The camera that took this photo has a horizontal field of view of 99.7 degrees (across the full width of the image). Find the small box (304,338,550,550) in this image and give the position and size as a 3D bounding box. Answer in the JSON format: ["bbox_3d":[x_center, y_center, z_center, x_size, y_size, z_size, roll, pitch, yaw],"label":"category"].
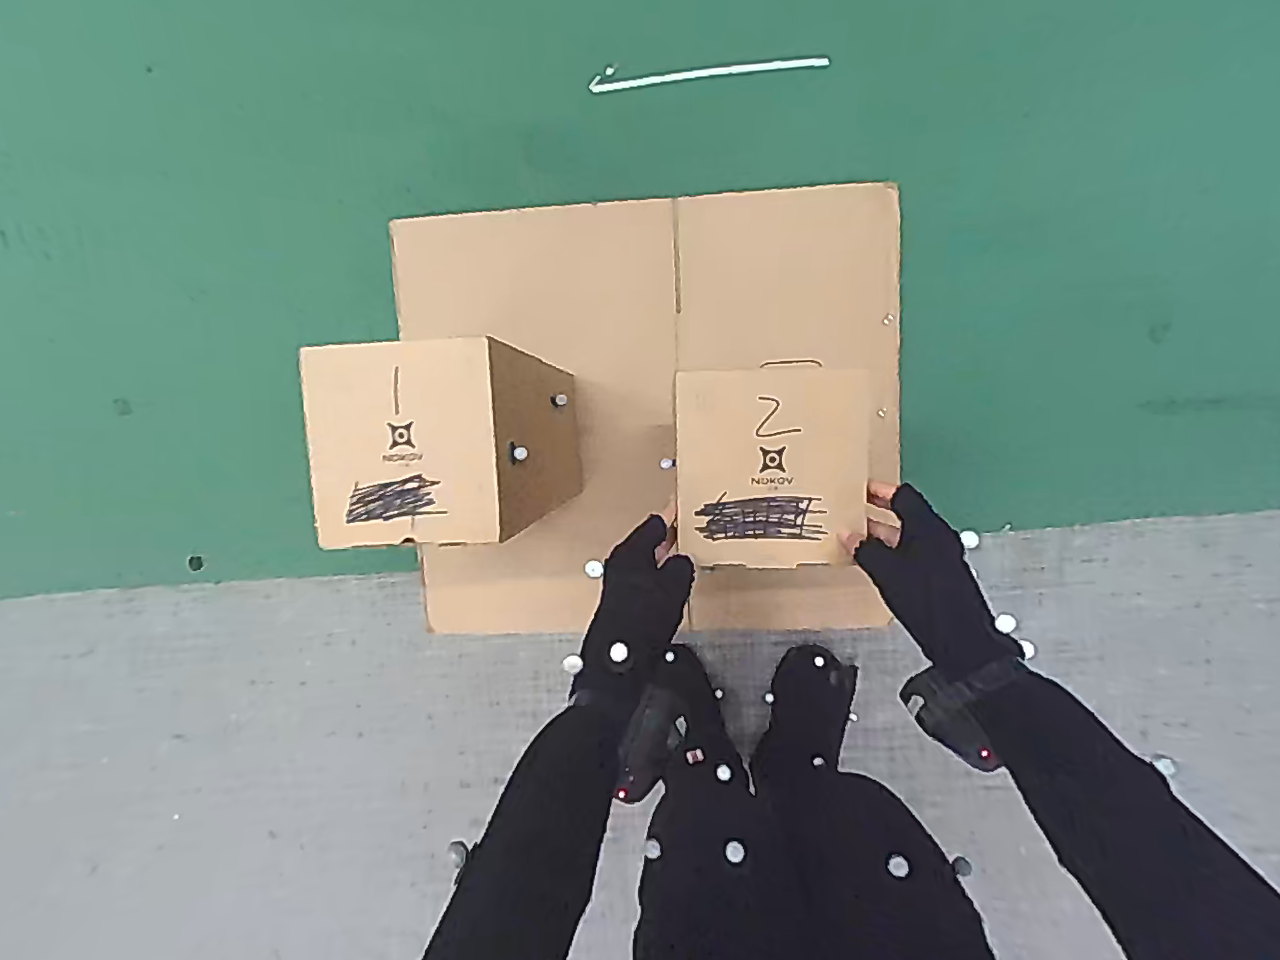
[{"bbox_3d":[-0.191,-0.035,0.533,0.168,0.176,0.179,-2,94,6],"label":"small box"}]

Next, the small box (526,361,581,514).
[{"bbox_3d":[-0.175,-0.050,0.696,0.168,0.176,0.179,-3,96,6],"label":"small box"}]
